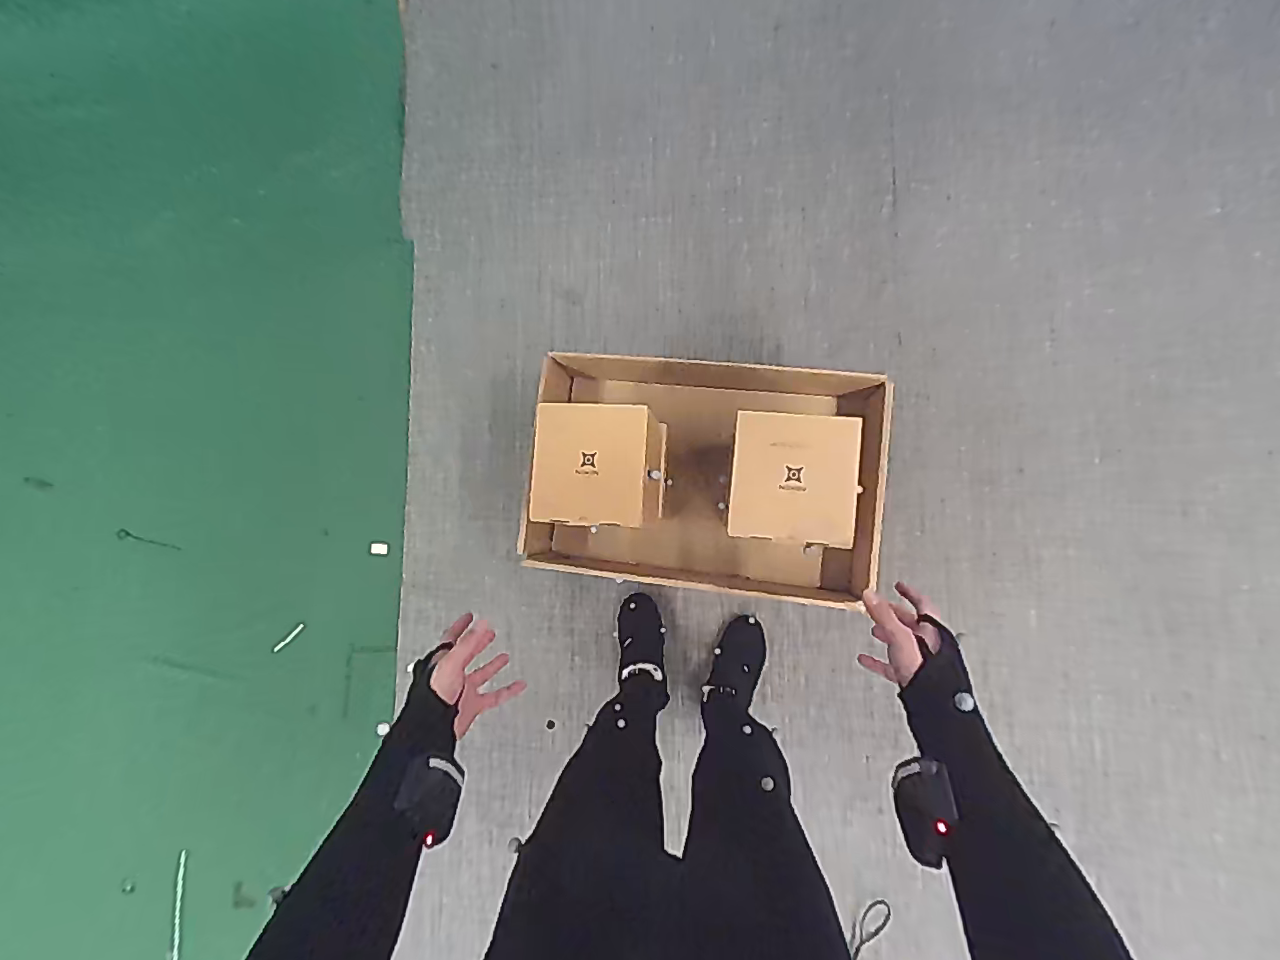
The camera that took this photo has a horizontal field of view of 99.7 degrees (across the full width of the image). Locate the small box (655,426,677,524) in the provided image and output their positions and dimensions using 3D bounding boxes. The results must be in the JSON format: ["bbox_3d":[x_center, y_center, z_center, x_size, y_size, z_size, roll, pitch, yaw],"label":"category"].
[{"bbox_3d":[-0.031,-0.007,1.000,0.179,0.176,0.168,4,85,9],"label":"small box"}]

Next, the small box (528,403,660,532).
[{"bbox_3d":[-0.061,-0.012,0.839,0.168,0.176,0.179,3,85,9],"label":"small box"}]

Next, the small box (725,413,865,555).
[{"bbox_3d":[0.216,0.011,0.789,0.168,0.176,0.179,6,84,9],"label":"small box"}]
